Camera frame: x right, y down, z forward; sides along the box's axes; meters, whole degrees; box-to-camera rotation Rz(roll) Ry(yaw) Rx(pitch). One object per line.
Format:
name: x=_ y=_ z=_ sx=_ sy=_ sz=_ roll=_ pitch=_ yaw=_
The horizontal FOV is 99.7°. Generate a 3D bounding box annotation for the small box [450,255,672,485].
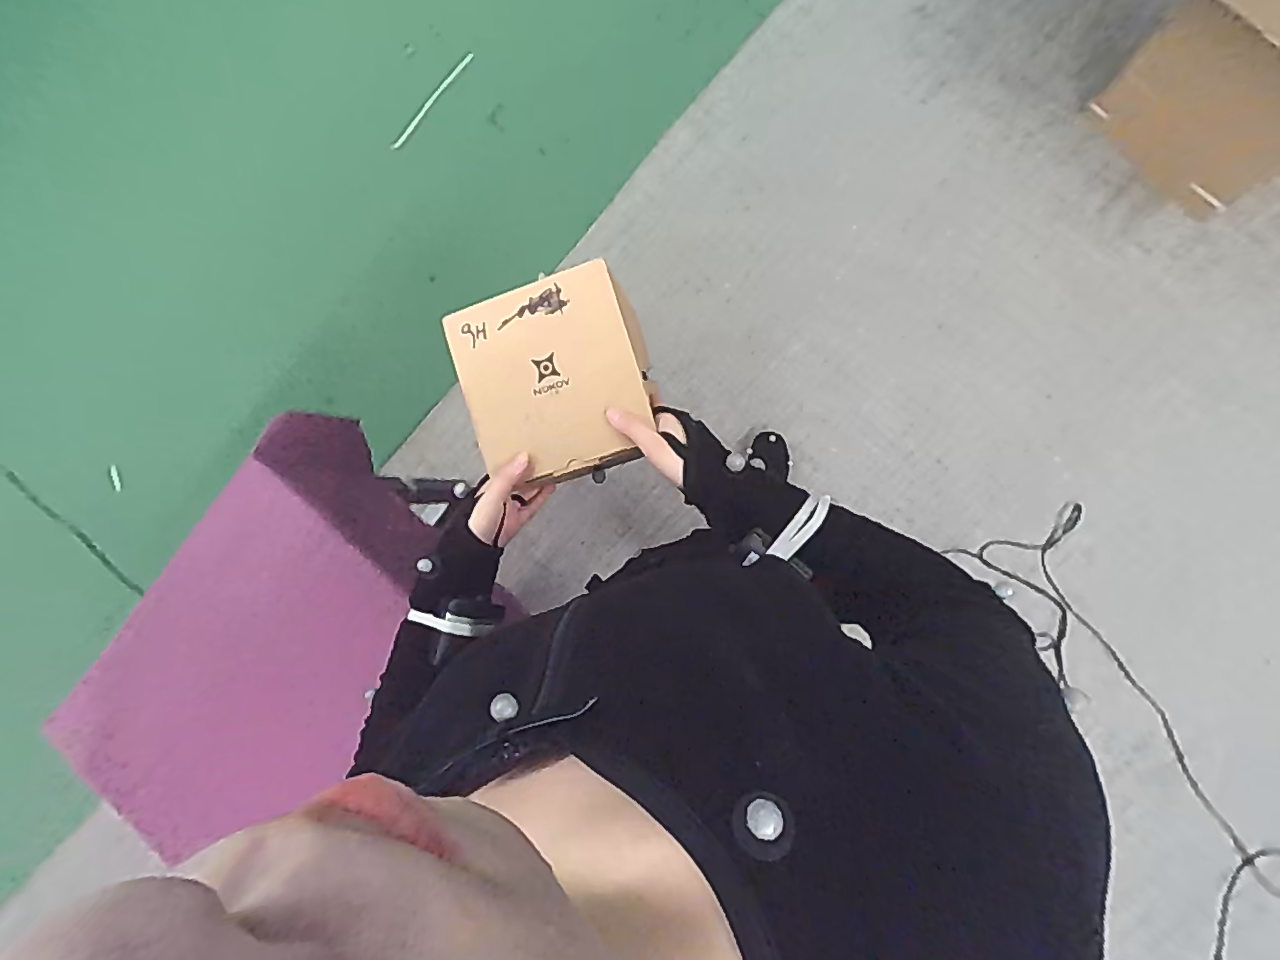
small box: x=-0.067 y=-0.104 z=0.574 sx=0.168 sy=0.176 sz=0.179 roll=-16 pitch=91 yaw=8
